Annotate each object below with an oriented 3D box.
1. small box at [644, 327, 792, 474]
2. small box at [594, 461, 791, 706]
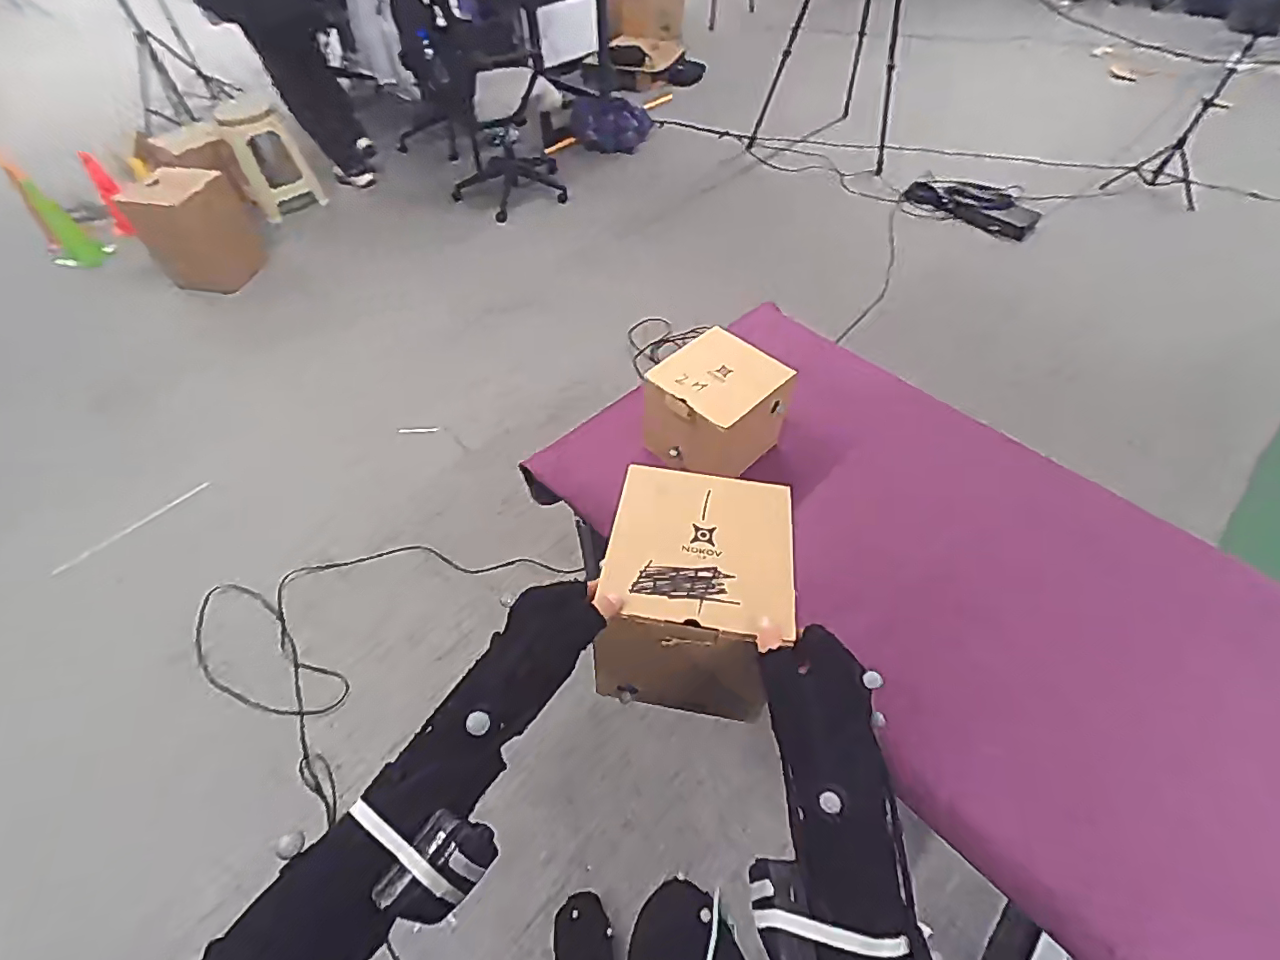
[{"bbox_3d":[0.120,-0.116,0.899,0.179,0.176,0.168,-39,61,-24],"label":"small box"},{"bbox_3d":[0.055,0.107,0.554,0.168,0.176,0.179,8,46,6],"label":"small box"}]
